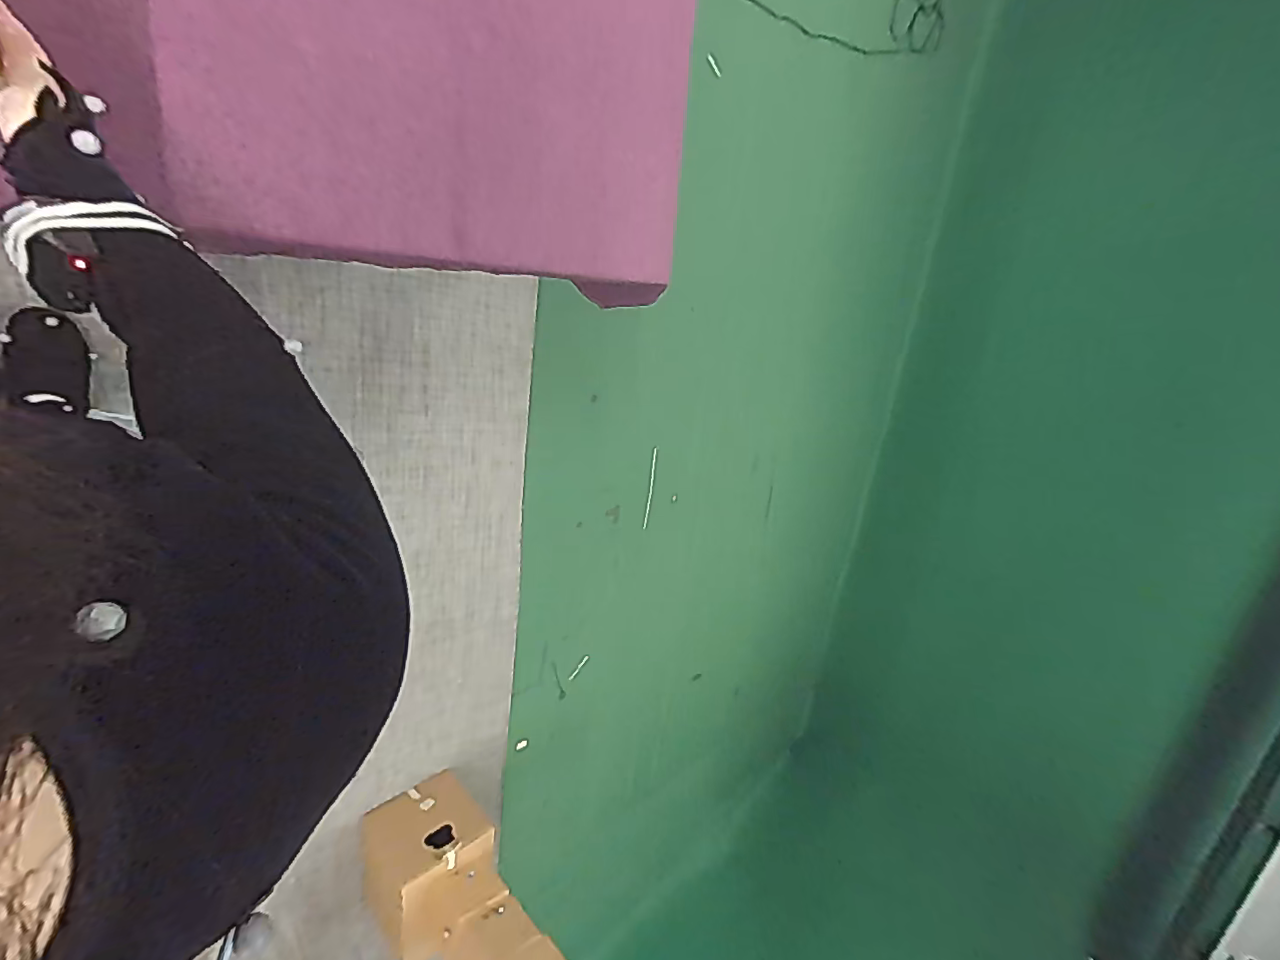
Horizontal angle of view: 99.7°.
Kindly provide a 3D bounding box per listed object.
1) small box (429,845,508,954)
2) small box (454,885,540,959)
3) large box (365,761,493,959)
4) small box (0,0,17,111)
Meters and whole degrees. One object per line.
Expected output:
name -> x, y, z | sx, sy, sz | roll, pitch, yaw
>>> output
small box -> -0.547, 1.314, 1.708 | 0.168, 0.176, 0.179 | 2, 105, -49
small box -> -0.430, 1.371, 1.610 | 0.168, 0.176, 0.179 | 7, 101, -50
large box -> -0.729, 1.291, 1.875 | 0.320, 0.320, 0.408 | -12, 117, -44
small box -> -0.523, -0.361, 0.331 | 0.168, 0.176, 0.179 | -11, 115, -44
